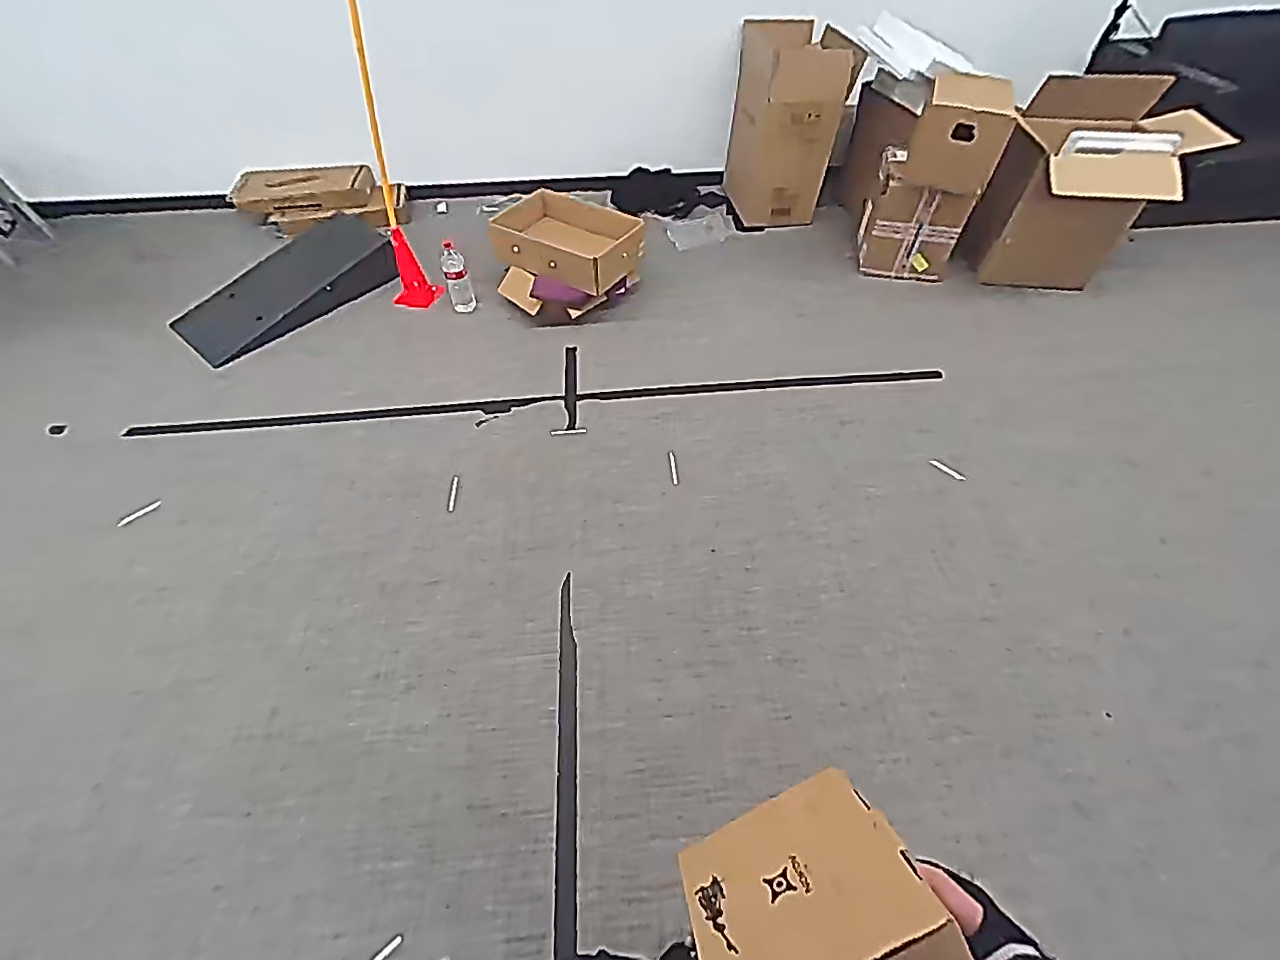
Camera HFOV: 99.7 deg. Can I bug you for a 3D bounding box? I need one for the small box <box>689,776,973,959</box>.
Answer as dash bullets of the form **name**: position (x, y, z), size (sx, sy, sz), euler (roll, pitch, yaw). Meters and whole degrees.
- **small box**: position (0.165, 0.402, 0.450), size (0.179, 0.168, 0.176), euler (-27, 96, -3)
